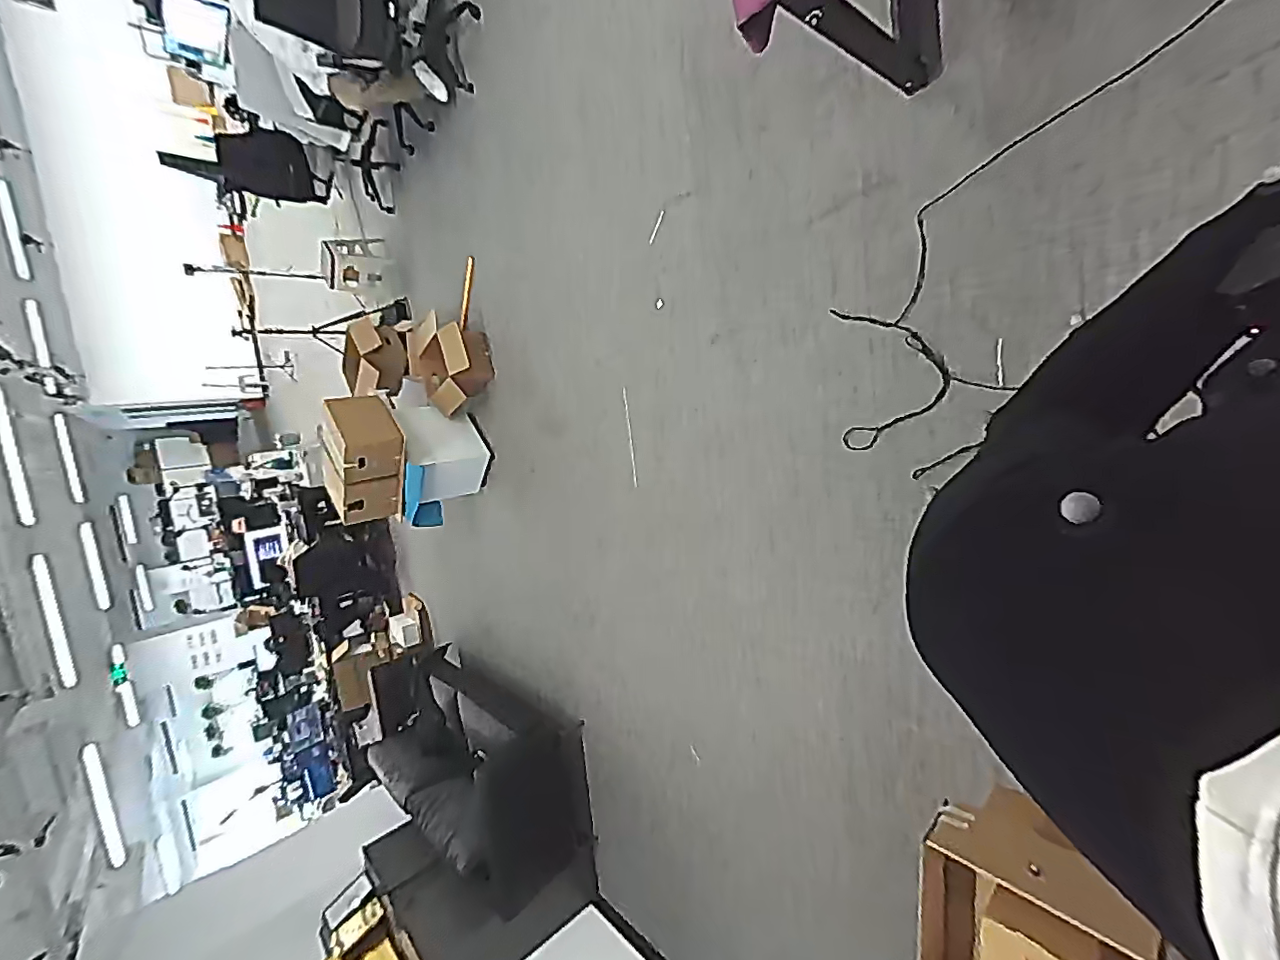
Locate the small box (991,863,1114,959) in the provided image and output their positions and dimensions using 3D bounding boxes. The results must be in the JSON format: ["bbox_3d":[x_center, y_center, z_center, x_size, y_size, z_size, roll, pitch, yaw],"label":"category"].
[{"bbox_3d":[0.833,0.941,1.093,0.168,0.176,0.179,8,107,49],"label":"small box"}]
